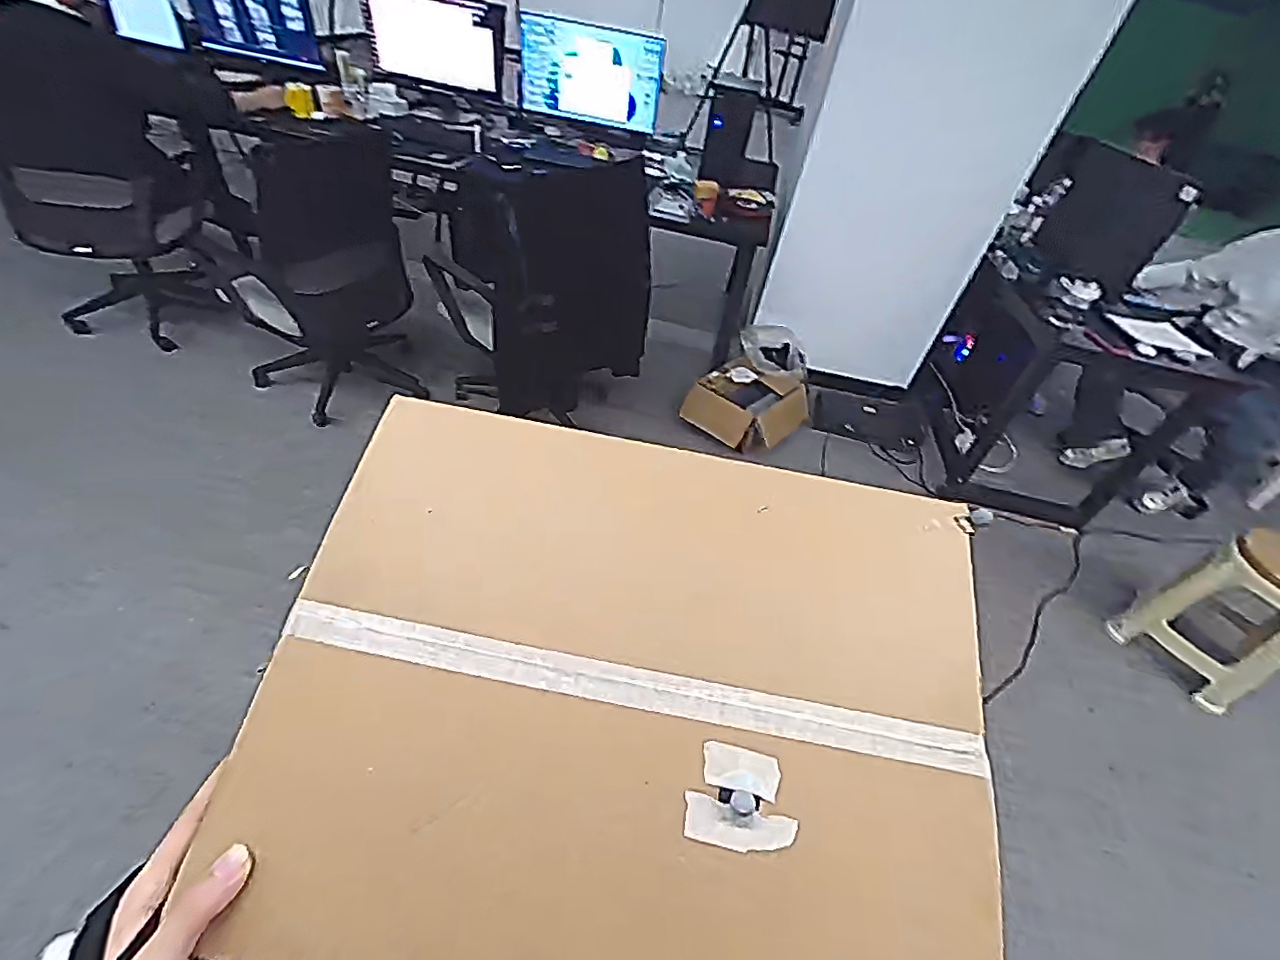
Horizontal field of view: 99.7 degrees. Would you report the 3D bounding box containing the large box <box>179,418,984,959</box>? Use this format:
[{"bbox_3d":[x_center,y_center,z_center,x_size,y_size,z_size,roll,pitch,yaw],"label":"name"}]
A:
[{"bbox_3d":[-0.015,0.185,0.453,0.408,0.320,0.320,11,66,1],"label":"large box"}]
